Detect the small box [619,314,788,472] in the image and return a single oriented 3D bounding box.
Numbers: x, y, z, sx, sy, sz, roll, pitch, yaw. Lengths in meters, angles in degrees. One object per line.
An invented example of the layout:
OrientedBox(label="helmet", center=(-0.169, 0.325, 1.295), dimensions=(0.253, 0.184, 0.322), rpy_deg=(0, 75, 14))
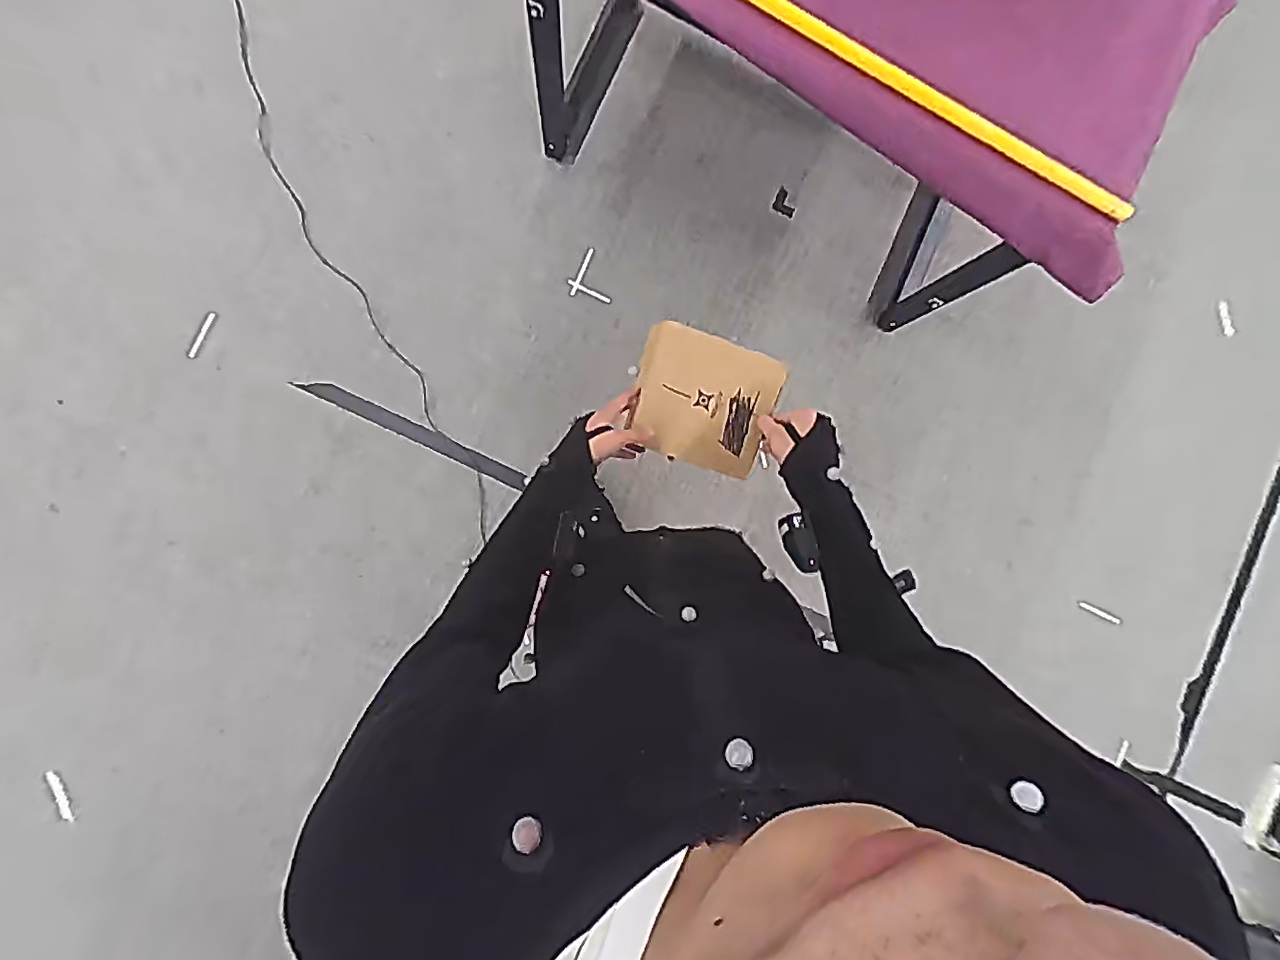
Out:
OrientedBox(label="small box", center=(0.078, -0.128, 0.778), dimensions=(0.179, 0.176, 0.168), rpy_deg=(17, 101, -9))
